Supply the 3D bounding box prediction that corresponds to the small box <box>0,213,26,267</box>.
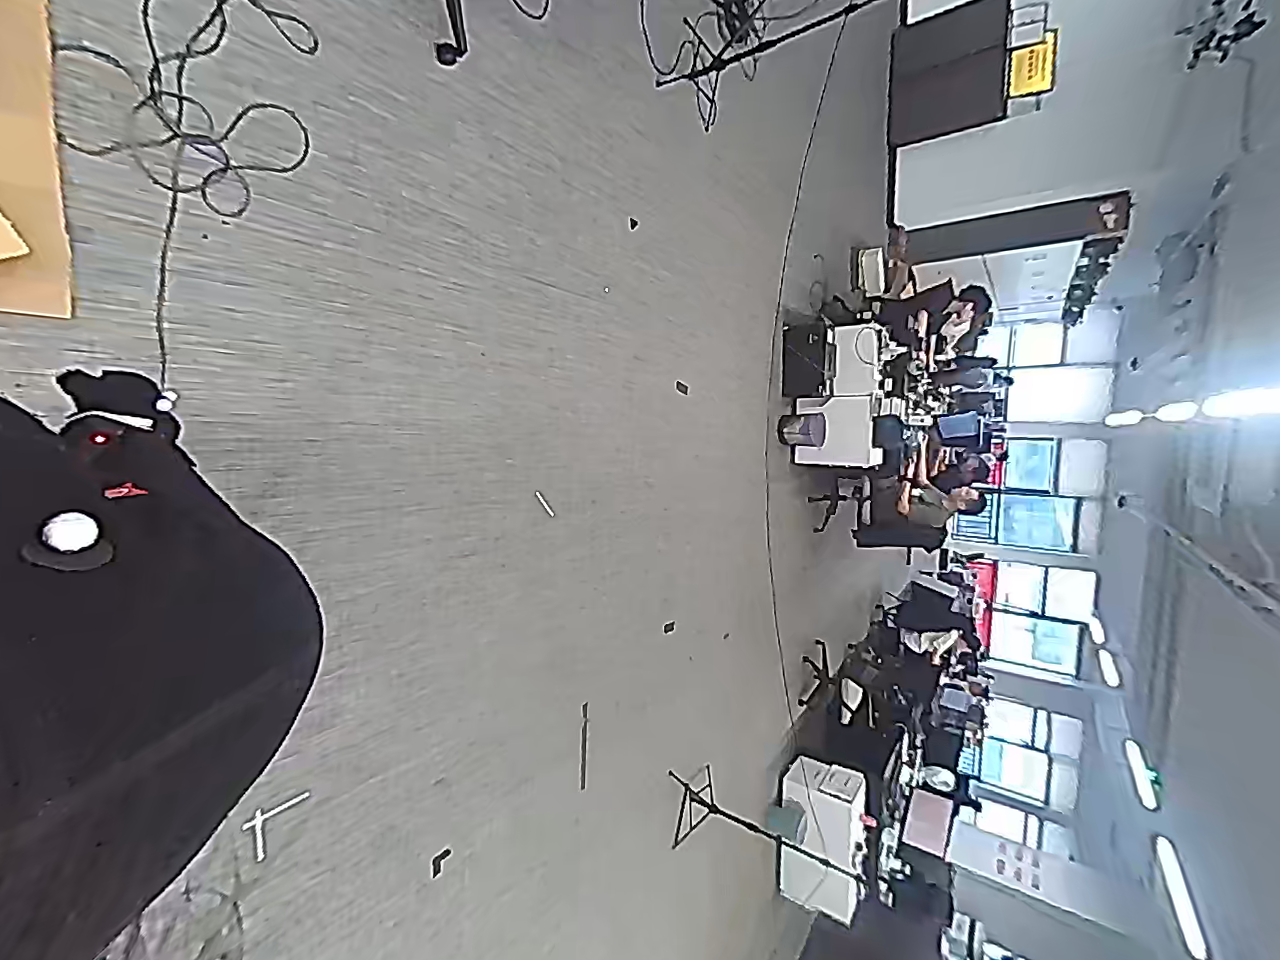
[{"bbox_3d":[-1.139,-0.407,0.842,0.179,0.176,0.168,-46,128,-39],"label":"small box"}]
